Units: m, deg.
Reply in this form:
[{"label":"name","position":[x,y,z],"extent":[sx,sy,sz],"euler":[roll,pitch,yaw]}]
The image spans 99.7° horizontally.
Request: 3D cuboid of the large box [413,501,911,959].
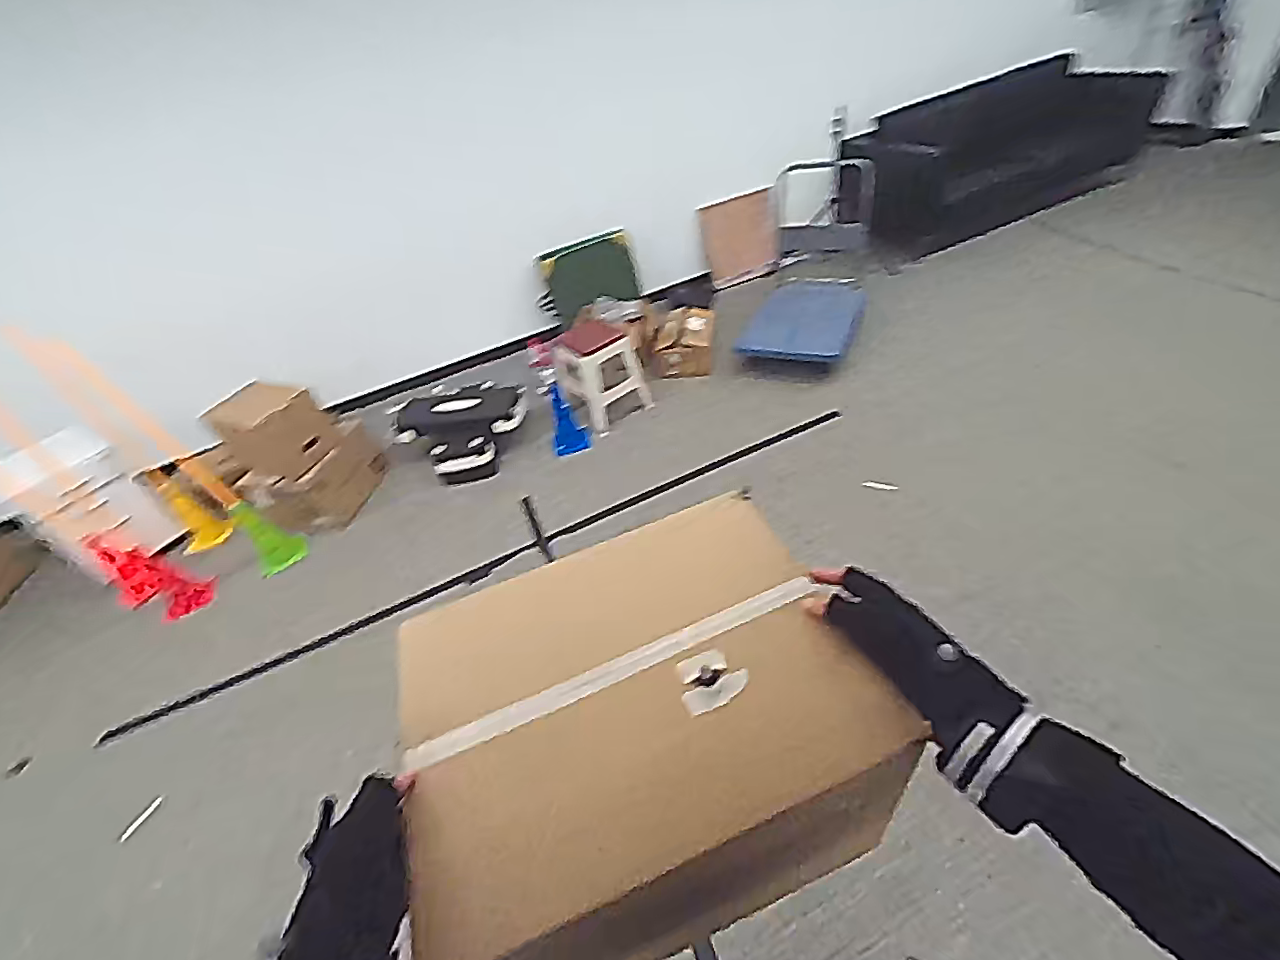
[{"label":"large box","position":[0.012,0.292,0.609],"extent":[0.408,0.320,0.320],"euler":[-21,43,-10]}]
